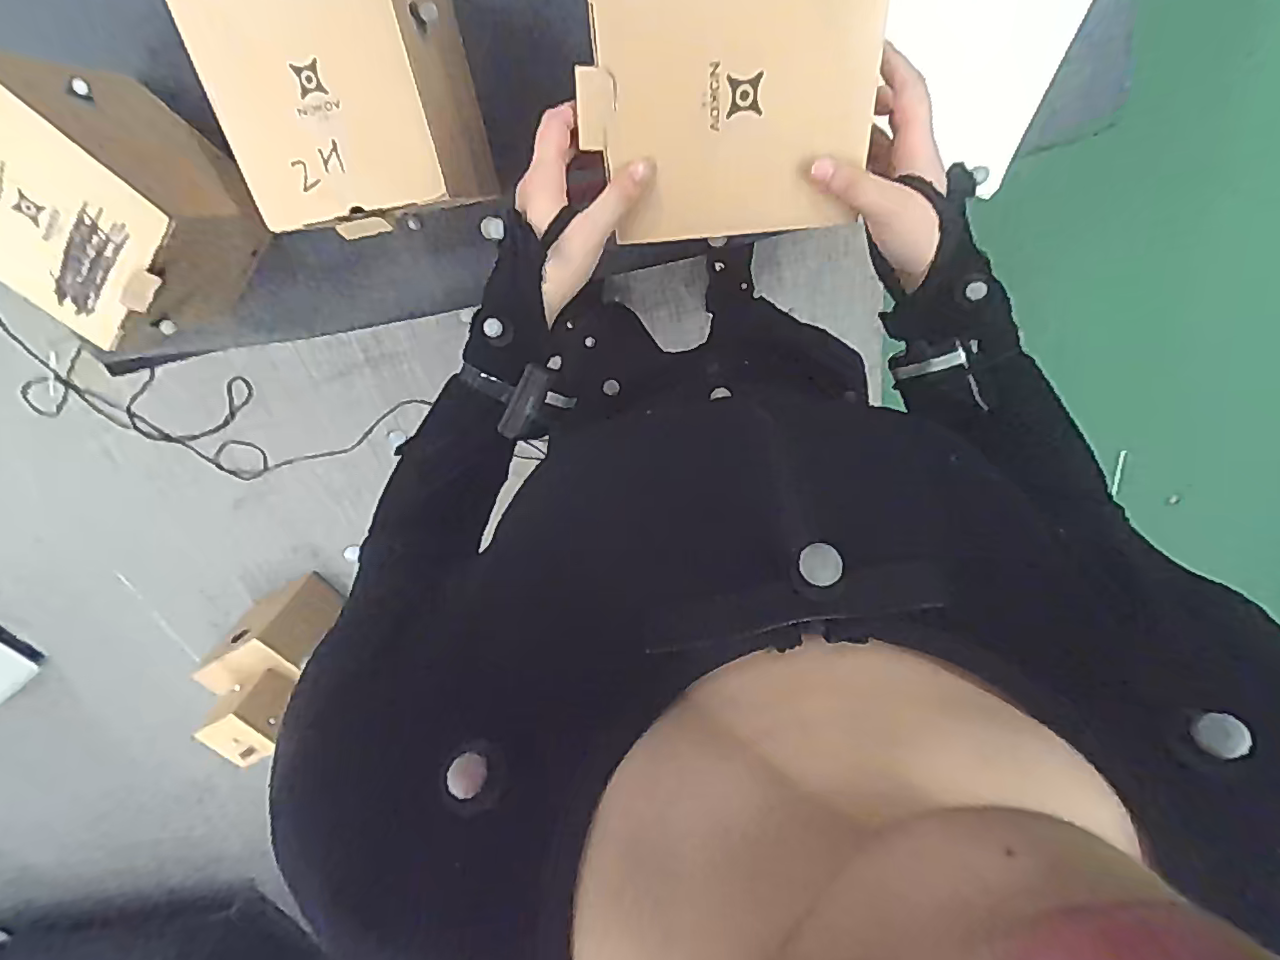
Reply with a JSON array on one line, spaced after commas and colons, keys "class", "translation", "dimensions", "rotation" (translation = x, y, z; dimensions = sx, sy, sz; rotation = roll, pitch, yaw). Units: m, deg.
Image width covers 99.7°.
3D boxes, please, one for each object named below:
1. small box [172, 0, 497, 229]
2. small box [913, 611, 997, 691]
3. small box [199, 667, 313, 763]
[{"class": "small box", "translation": [-0.248, -0.338, 0.489], "dimensions": [0.168, 0.176, 0.179], "rotation": [-7, 118, 7]}, {"class": "small box", "translation": [0.992, 0.537, 1.714], "dimensions": [0.179, 0.176, 0.168], "rotation": [-11, 120, 9]}, {"class": "small box", "translation": [-1.114, 0.684, 1.586], "dimensions": [0.168, 0.176, 0.179], "rotation": [-28, 115, 15]}]
